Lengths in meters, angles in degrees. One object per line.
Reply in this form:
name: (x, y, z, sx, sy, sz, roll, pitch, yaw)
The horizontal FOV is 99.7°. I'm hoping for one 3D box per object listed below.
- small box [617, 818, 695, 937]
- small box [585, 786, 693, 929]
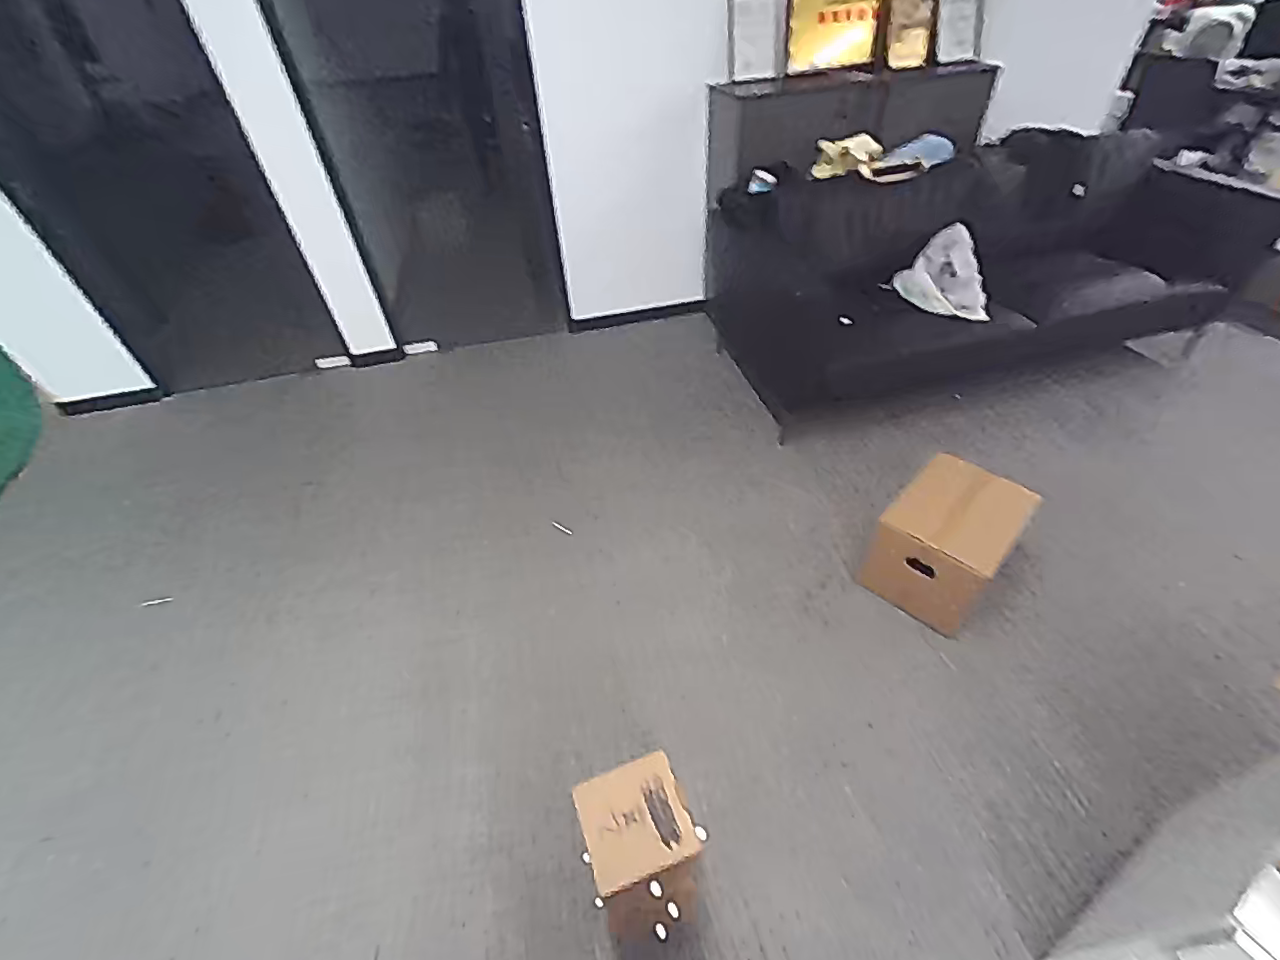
small box: (0.017, 0.861, 1.176, 0.168, 0.176, 0.179, -12, 44, -9)
small box: (-0.001, 0.745, 1.063, 0.168, 0.176, 0.179, -14, 43, -12)
